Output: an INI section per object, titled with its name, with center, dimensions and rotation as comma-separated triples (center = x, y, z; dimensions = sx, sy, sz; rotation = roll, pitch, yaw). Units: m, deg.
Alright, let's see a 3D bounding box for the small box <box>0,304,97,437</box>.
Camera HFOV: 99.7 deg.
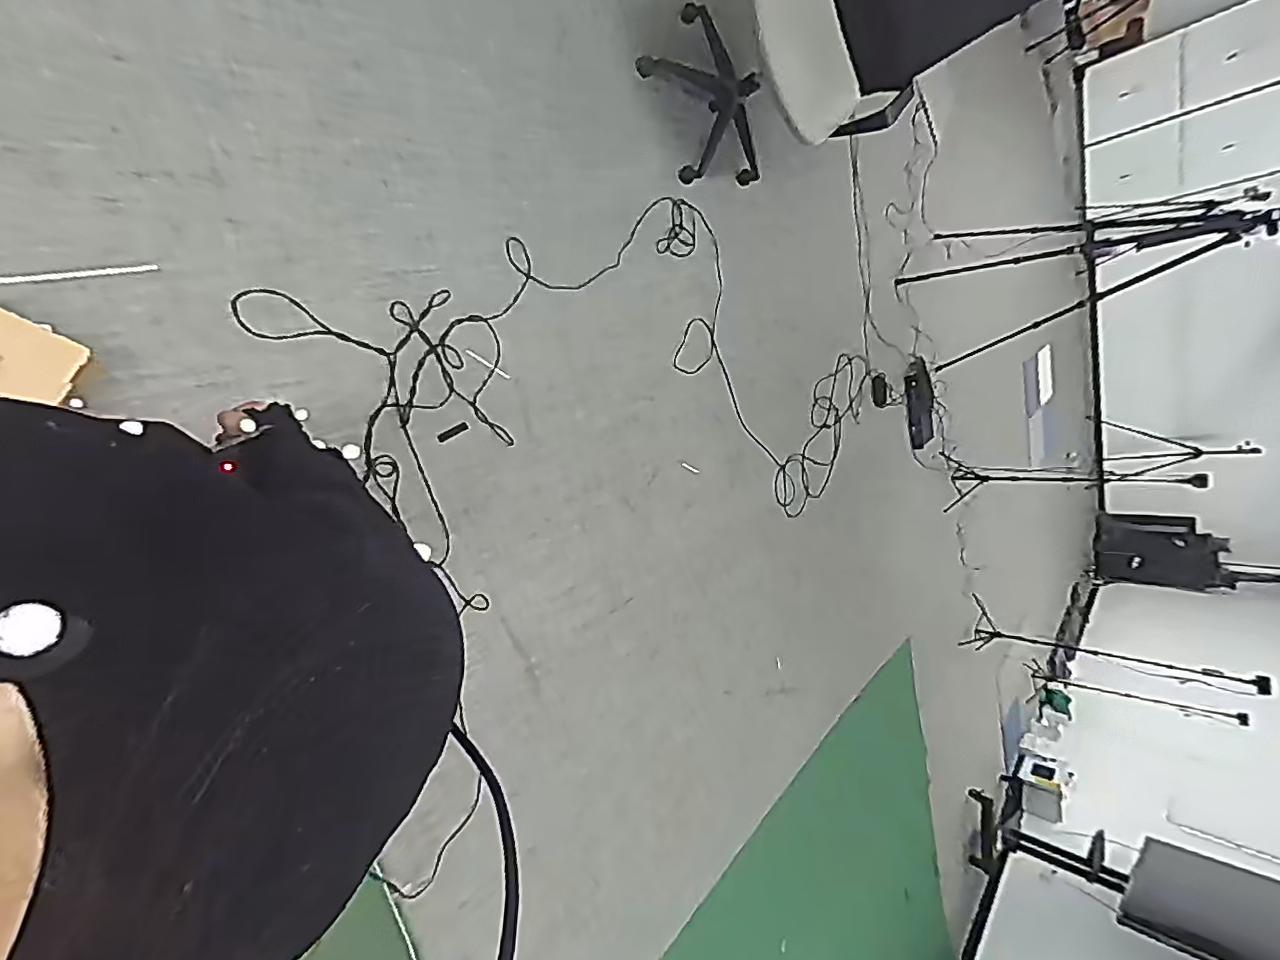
[small box]
center = -1.011, -0.179, 0.851
dimensions = 0.179, 0.176, 0.168
rotation = 34, 69, -38
